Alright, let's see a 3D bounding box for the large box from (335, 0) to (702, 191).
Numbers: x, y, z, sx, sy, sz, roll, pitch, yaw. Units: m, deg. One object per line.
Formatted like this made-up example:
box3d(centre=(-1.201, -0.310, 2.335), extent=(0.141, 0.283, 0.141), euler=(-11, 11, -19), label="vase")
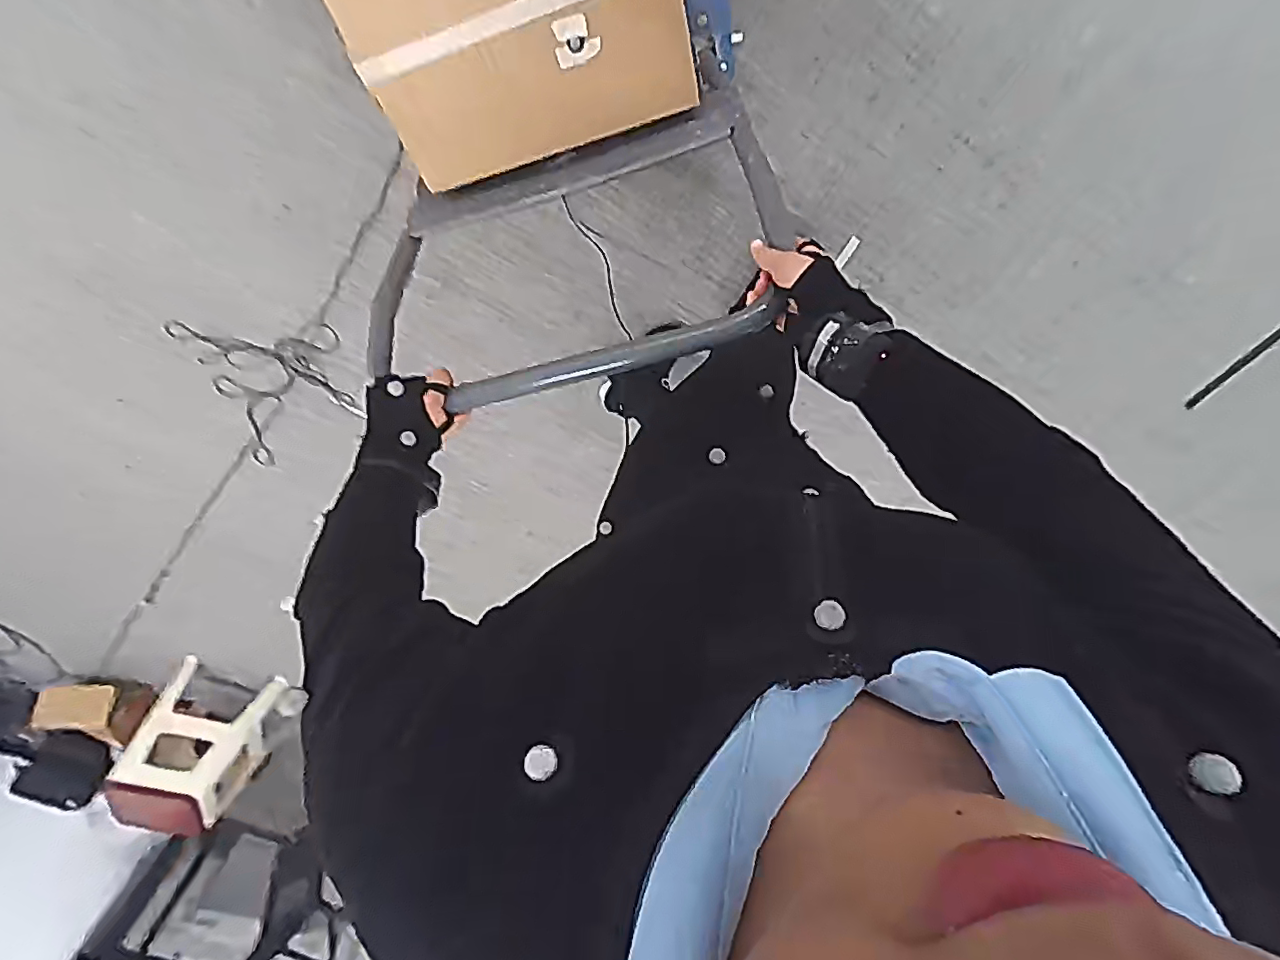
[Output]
box3d(centre=(-0.156, -0.671, 0.747), extent=(0.408, 0.320, 0.320), euler=(-13, 139, 10), label="large box")
